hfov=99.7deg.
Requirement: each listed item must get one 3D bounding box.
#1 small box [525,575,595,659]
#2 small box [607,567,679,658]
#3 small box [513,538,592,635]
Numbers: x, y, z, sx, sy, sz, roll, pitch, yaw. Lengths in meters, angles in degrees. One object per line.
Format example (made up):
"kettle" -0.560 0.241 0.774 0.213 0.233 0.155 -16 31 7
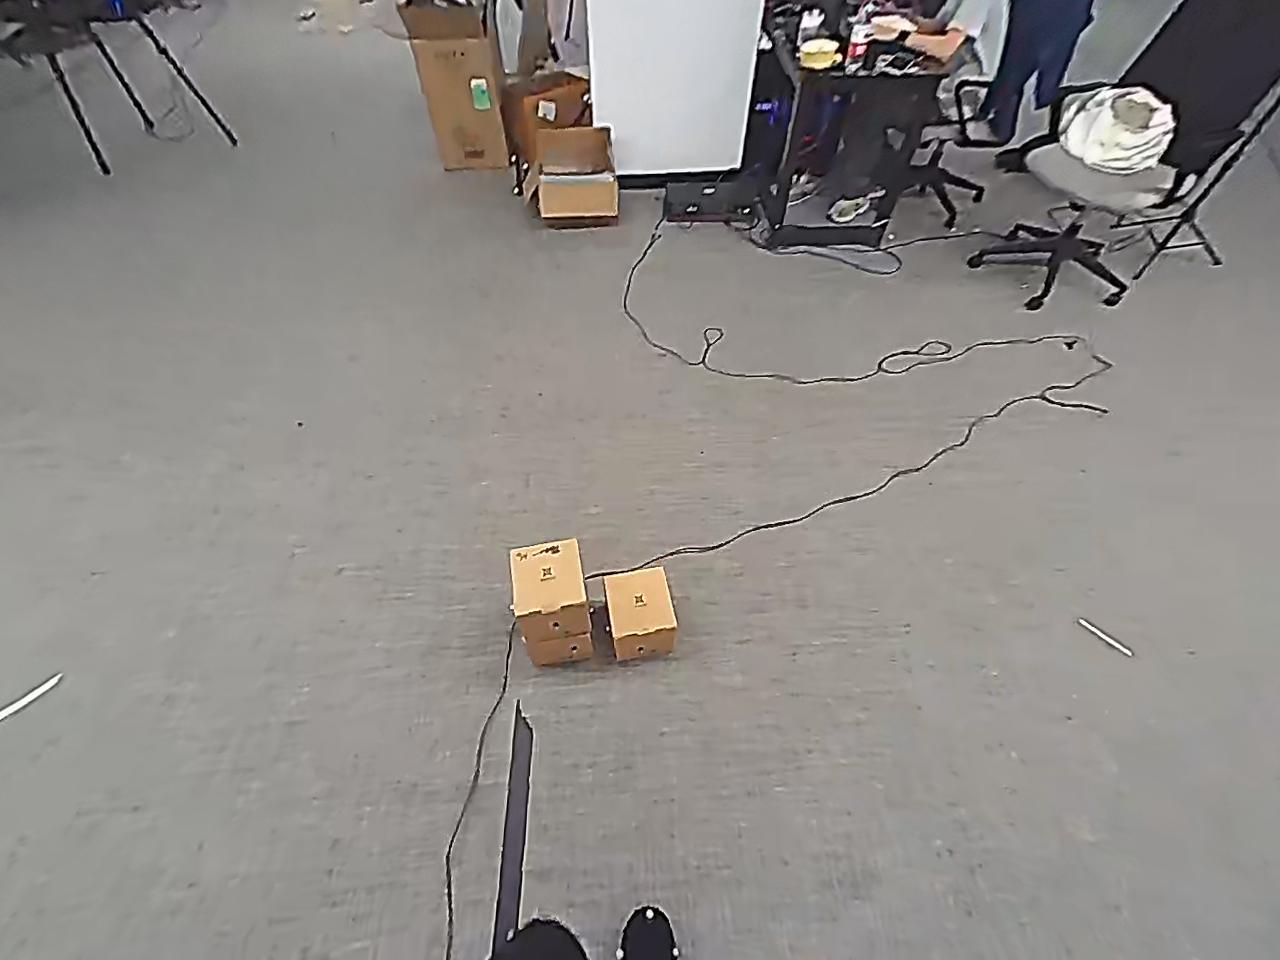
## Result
"small box" -0.214 0.373 1.459 0.168 0.176 0.179 -5 53 -4
"small box" 0.003 0.361 1.467 0.168 0.176 0.179 -9 54 -6
"small box" -0.213 0.270 1.331 0.168 0.176 0.179 -8 54 -7
